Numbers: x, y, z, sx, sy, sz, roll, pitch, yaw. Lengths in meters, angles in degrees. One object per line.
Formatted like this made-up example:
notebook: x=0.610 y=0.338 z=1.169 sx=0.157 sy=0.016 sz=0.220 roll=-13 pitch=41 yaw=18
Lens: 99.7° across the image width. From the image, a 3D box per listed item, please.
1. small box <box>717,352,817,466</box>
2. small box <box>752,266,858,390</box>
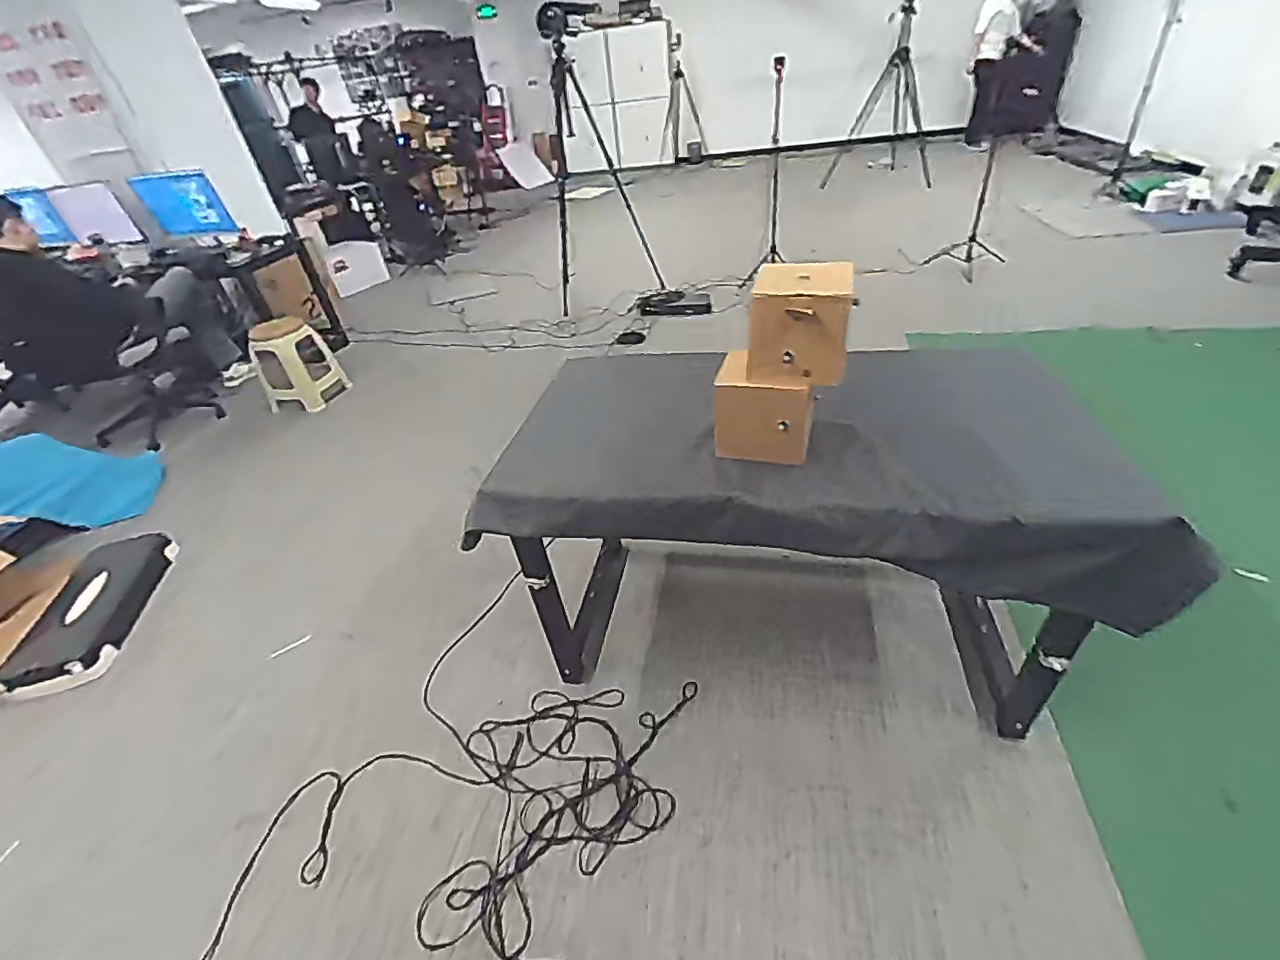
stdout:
small box: x=0.258 y=-0.142 z=1.085 sx=0.179 sy=0.176 sz=0.168 roll=6 pitch=38 yaw=19
small box: x=0.300 y=-0.283 z=0.993 sx=0.168 sy=0.176 sz=0.179 roll=7 pitch=39 yaw=17
